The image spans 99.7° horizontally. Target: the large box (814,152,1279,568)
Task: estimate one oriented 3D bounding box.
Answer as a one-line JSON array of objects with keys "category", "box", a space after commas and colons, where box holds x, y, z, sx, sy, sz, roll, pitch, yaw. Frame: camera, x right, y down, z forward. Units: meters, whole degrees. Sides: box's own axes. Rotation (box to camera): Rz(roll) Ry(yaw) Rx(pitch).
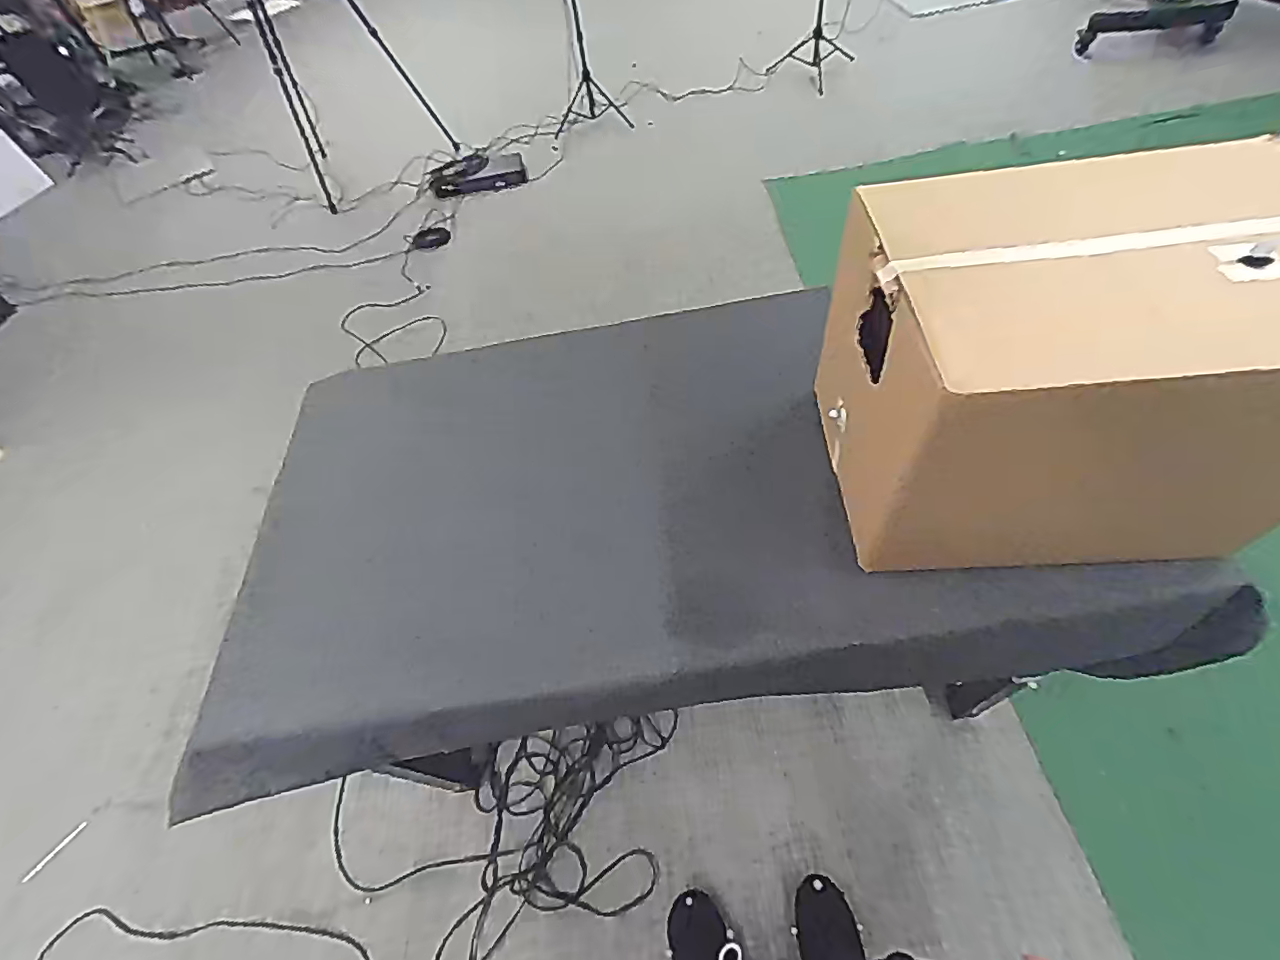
[{"category": "large box", "box": [0.446, -0.113, 0.600, 0.408, 0.320, 0.320, -3, 55, 5]}]
